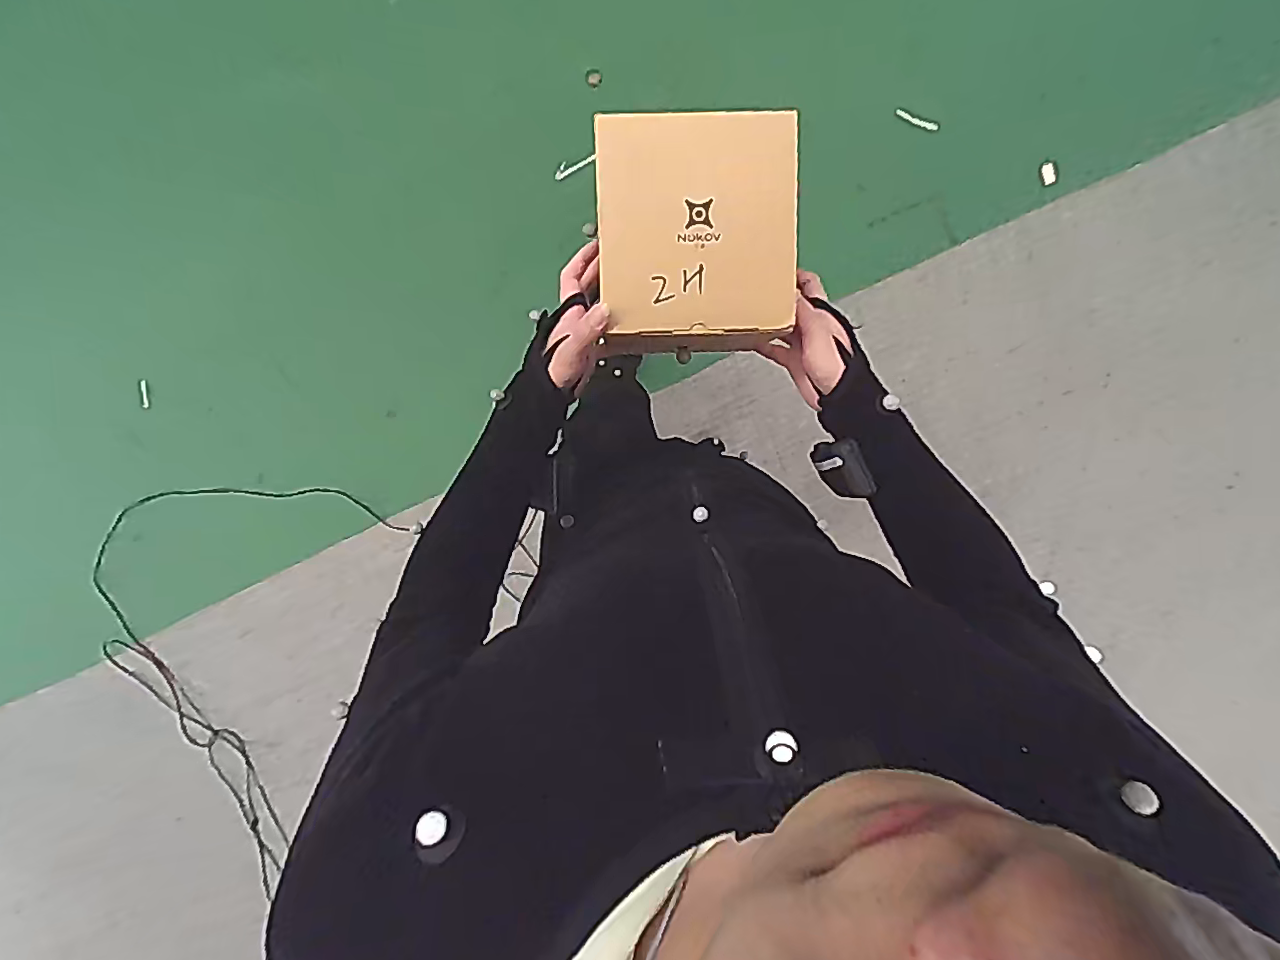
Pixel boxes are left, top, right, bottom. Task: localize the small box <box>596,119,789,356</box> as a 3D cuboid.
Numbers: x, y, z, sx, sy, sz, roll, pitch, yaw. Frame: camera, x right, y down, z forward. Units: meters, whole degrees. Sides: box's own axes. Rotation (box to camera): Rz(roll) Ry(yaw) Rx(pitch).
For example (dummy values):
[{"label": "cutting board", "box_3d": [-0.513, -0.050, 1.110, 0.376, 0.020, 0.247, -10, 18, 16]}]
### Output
[{"label": "small box", "box_3d": [0.041, -0.222, 0.536, 0.168, 0.176, 0.179, -1, 98, -1]}]
